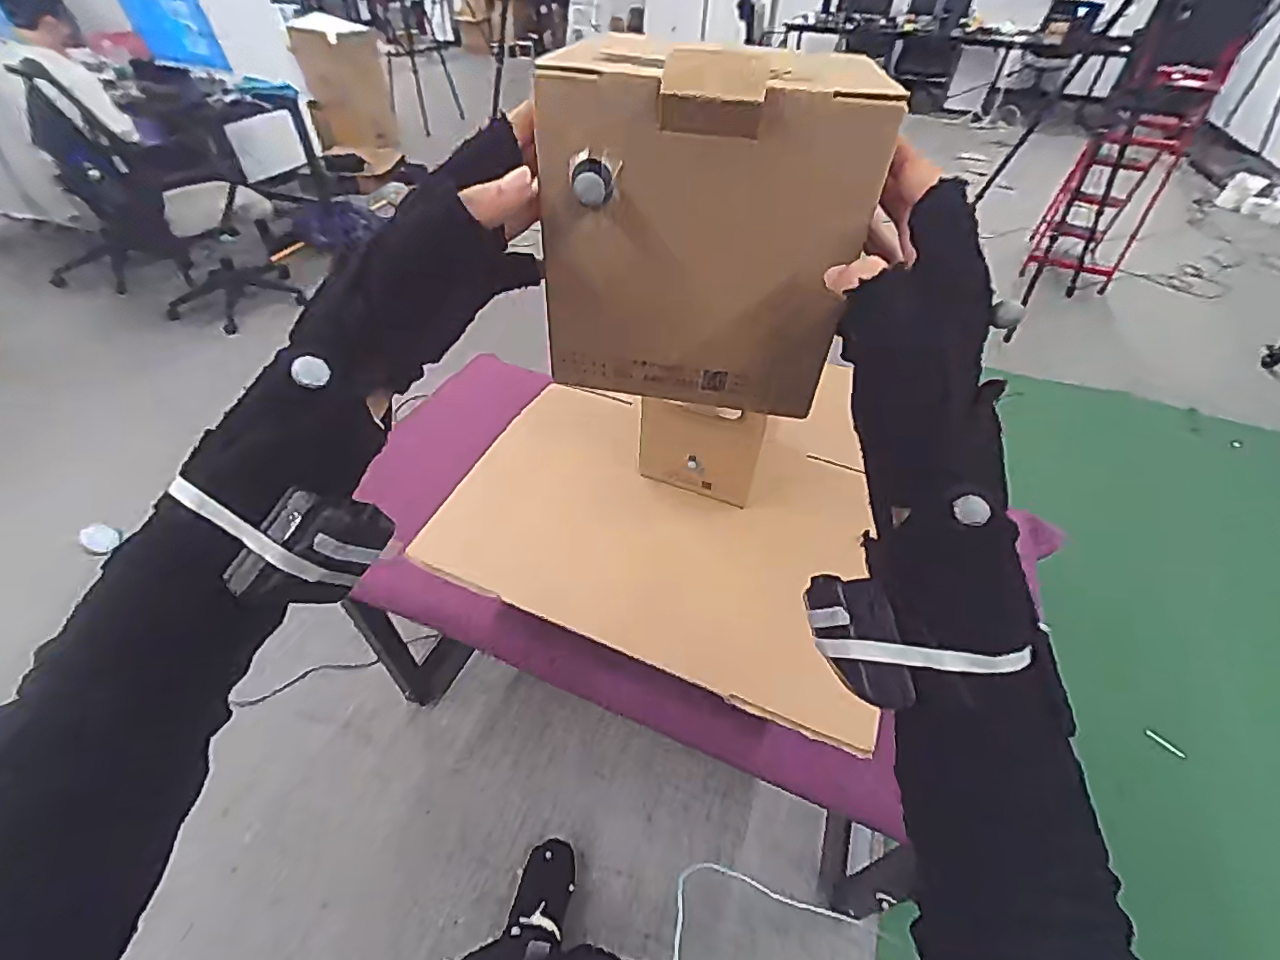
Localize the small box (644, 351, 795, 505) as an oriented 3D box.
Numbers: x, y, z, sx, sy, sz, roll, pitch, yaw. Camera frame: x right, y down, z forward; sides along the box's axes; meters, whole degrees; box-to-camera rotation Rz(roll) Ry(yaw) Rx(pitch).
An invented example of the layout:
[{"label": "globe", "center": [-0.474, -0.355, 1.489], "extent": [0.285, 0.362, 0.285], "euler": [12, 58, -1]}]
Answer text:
[{"label": "small box", "center": [0.108, -0.096, 0.780], "extent": [0.168, 0.176, 0.179], "euler": [18, 46, 16]}]
